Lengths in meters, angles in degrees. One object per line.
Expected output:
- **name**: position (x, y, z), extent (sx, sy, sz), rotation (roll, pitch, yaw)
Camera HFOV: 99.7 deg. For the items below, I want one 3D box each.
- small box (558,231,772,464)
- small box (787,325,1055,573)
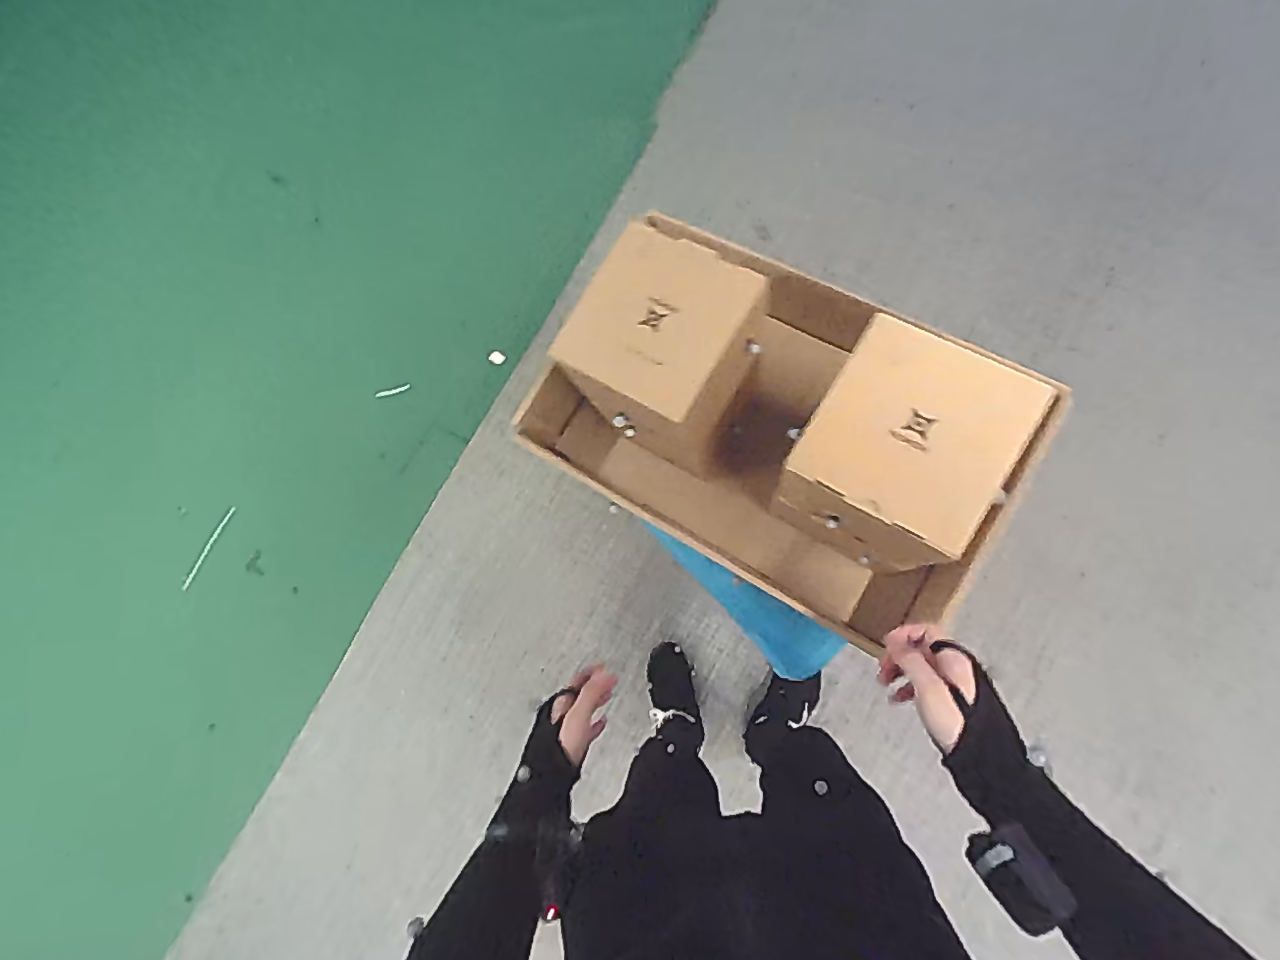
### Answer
- **small box**: position (0.037, -0.144, 0.637), extent (0.168, 0.176, 0.179), rotation (31, 86, 16)
- **small box**: position (0.265, -0.020, 0.561), extent (0.168, 0.176, 0.179), rotation (32, 86, 16)
